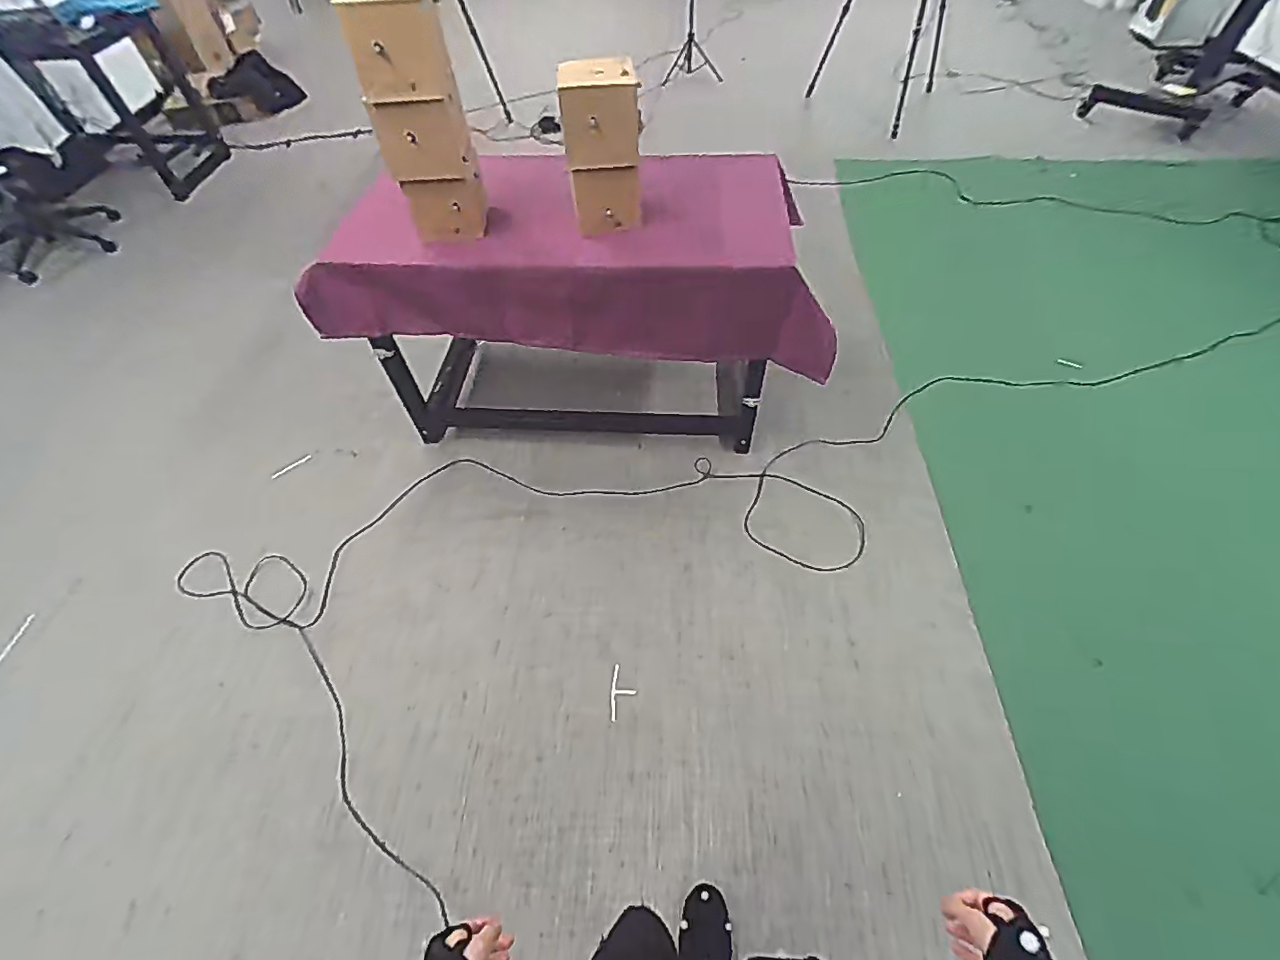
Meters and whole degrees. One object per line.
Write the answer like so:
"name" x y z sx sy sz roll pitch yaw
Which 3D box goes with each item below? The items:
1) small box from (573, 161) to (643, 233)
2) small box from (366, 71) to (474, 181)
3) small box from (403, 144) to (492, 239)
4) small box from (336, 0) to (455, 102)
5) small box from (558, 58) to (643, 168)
"small box" -0.086 -0.767 1.403 0.168 0.176 0.179 -8 54 -3
"small box" -0.499 -0.822 1.261 0.179 0.176 0.168 -3 54 0
"small box" -0.491 -0.745 1.407 0.168 0.176 0.179 -3 53 -1
"small box" -0.495 -0.909 1.123 0.168 0.176 0.179 -6 53 -3
"small box" -0.089 -0.849 1.259 0.179 0.176 0.168 -4 54 0
